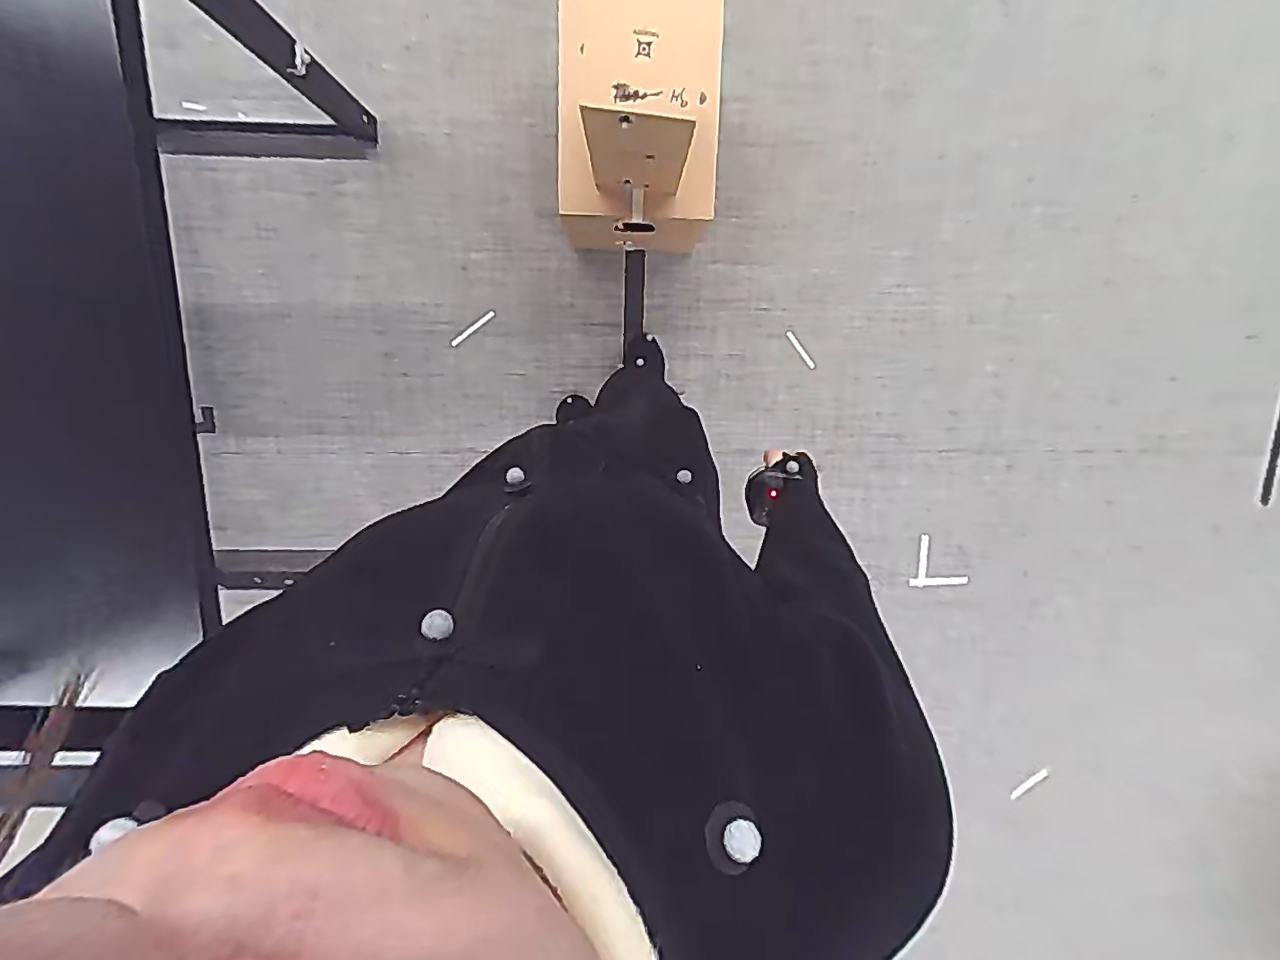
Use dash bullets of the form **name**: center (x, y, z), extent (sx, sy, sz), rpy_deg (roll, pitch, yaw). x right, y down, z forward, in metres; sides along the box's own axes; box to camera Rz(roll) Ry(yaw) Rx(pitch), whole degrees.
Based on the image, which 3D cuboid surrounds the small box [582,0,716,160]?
- **small box**: center (0.010, -0.605, 0.792), extent (0.168, 0.176, 0.179), rpy_deg (7, 101, -2)

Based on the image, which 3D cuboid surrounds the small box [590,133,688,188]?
- **small box**: center (0.004, -0.642, 0.951), extent (0.168, 0.176, 0.179), rpy_deg (5, 102, -2)

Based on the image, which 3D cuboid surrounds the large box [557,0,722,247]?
- **large box**: center (-0.007, -0.752, 1.178), extent (0.320, 0.320, 0.408), rpy_deg (1, 101, -3)
